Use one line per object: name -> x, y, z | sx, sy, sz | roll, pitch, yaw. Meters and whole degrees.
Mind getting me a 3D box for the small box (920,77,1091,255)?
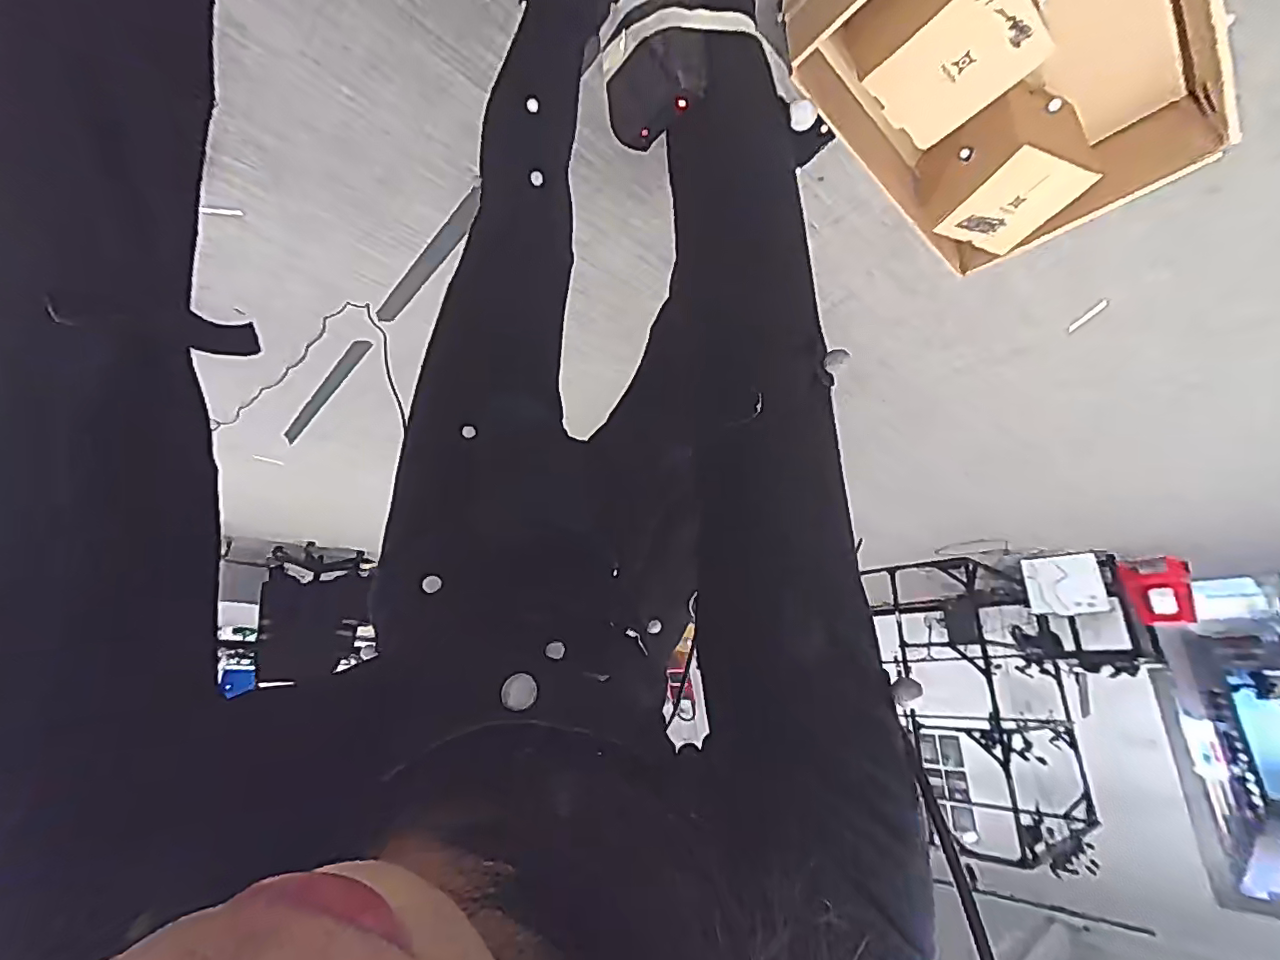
small box -> 0.610, -0.531, 0.928 | 0.168, 0.176, 0.179 | 9, 157, -17
